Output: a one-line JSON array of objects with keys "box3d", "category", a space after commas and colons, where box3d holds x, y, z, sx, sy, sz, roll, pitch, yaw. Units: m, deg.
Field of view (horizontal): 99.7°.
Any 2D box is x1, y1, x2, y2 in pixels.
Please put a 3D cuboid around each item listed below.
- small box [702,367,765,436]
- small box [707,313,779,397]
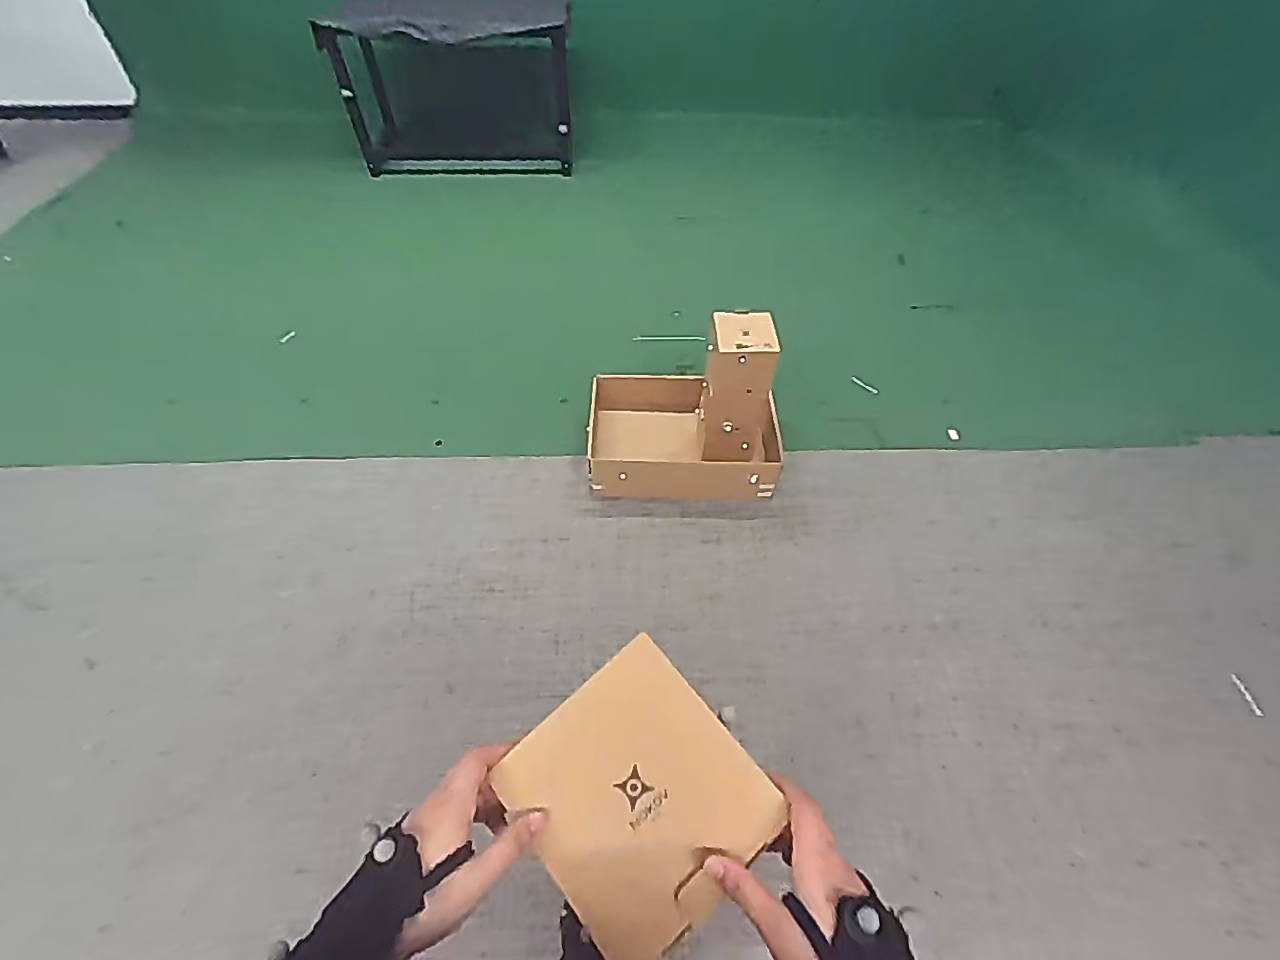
[{"box3d": [0.284, -0.259, 1.682, 0.168, 0.176, 0.179, 1, 54, 1], "category": "small box"}, {"box3d": [0.287, -0.358, 1.551, 0.168, 0.176, 0.179, -1, 52, -1], "category": "small box"}]
